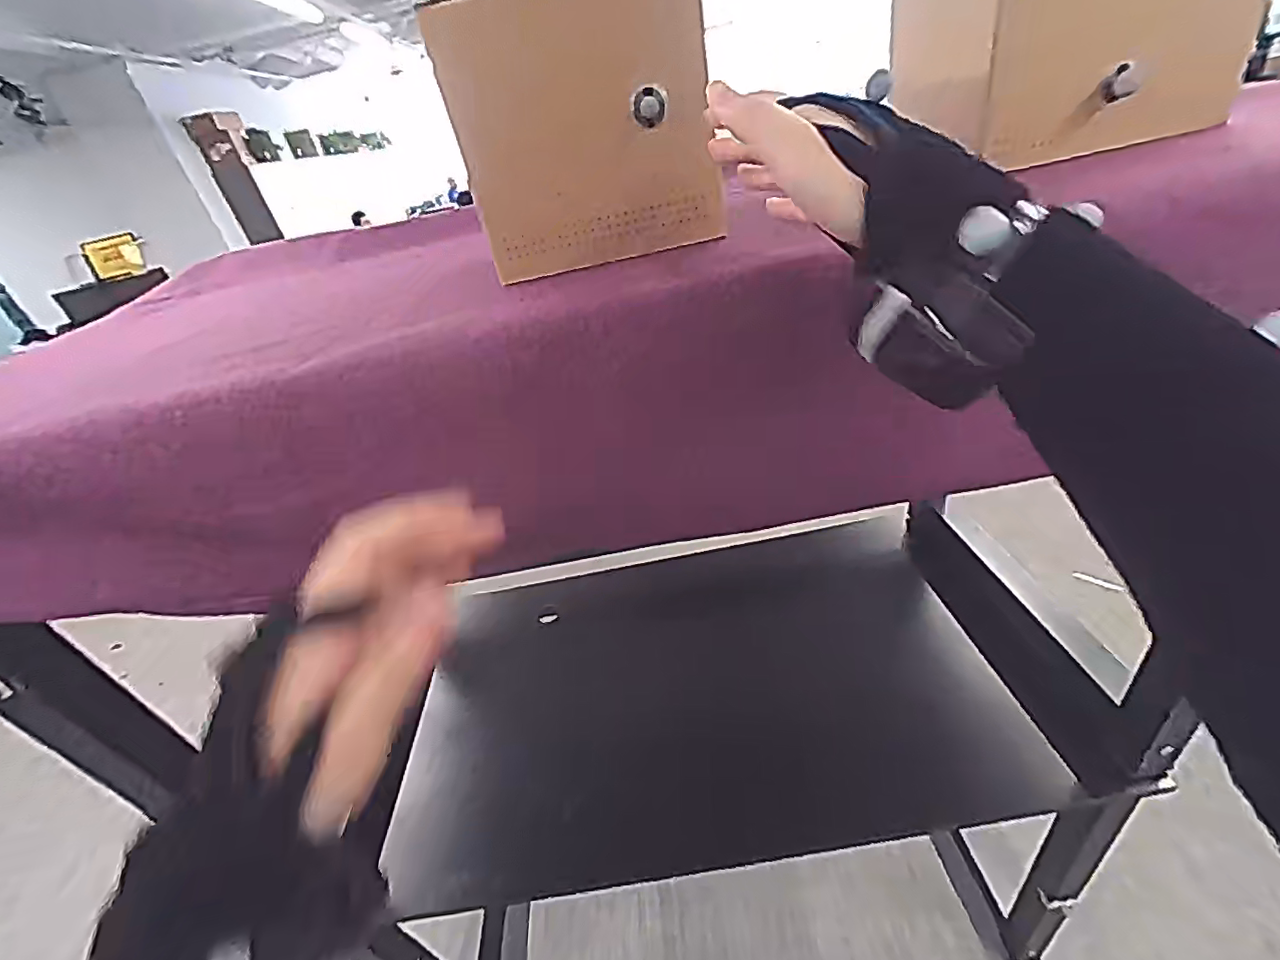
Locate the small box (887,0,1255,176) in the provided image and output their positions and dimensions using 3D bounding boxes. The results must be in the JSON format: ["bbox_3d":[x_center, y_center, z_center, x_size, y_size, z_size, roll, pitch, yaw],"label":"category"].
[{"bbox_3d":[0.307,-0.345,0.407,0.179,0.176,0.168,-10,32,4],"label":"small box"}]

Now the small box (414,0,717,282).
[{"bbox_3d":[-0.040,-0.273,0.426,0.179,0.176,0.168,-12,32,3],"label":"small box"}]
